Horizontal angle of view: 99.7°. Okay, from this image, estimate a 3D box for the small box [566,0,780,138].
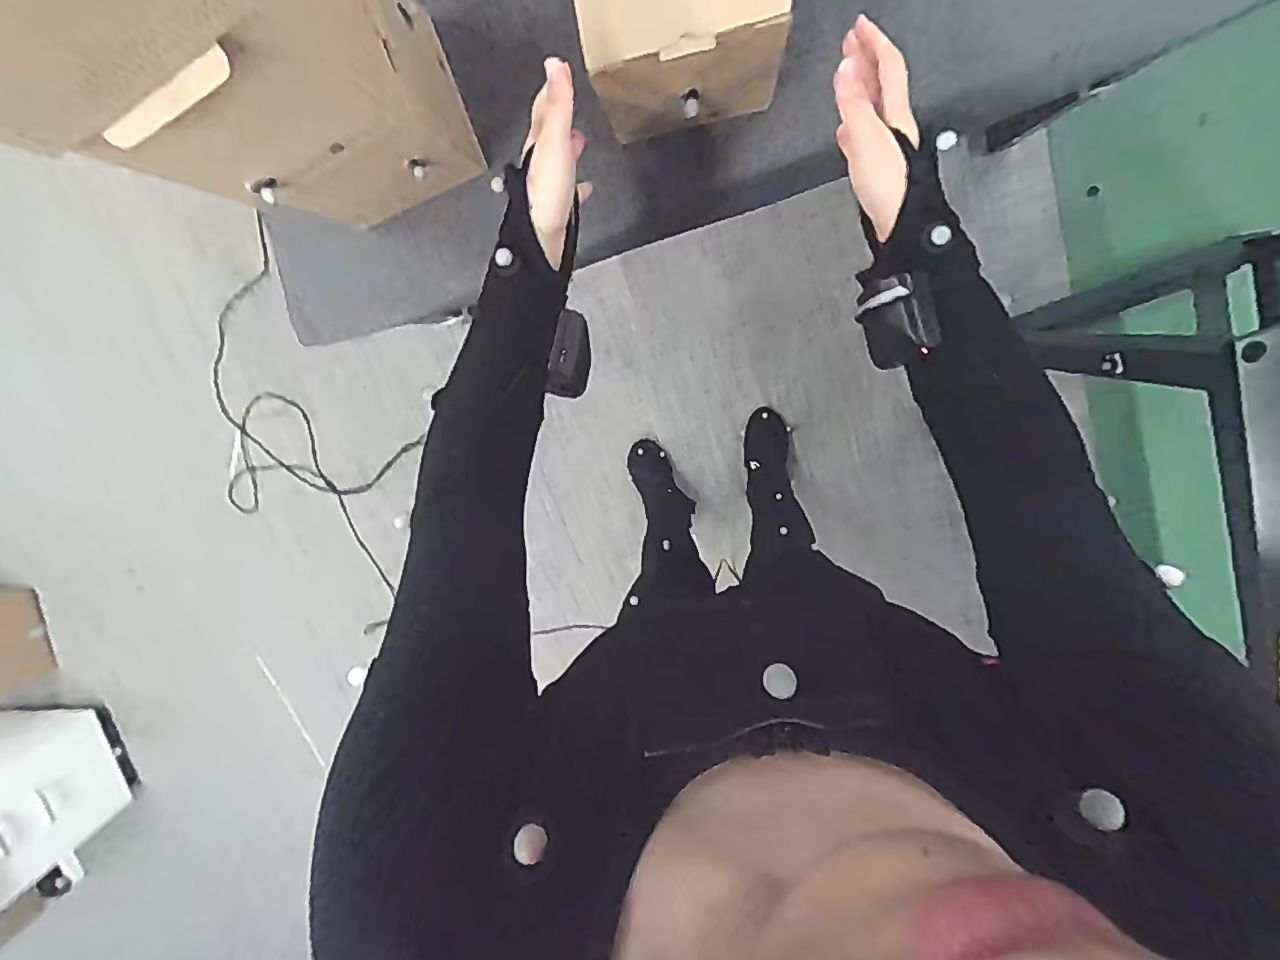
[{"bbox_3d":[0.028,-0.438,0.488,0.168,0.176,0.179,-9,104,11],"label":"small box"}]

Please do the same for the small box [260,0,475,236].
[{"bbox_3d":[-0.293,-0.375,0.553,0.179,0.176,0.168,-18,100,13],"label":"small box"}]
